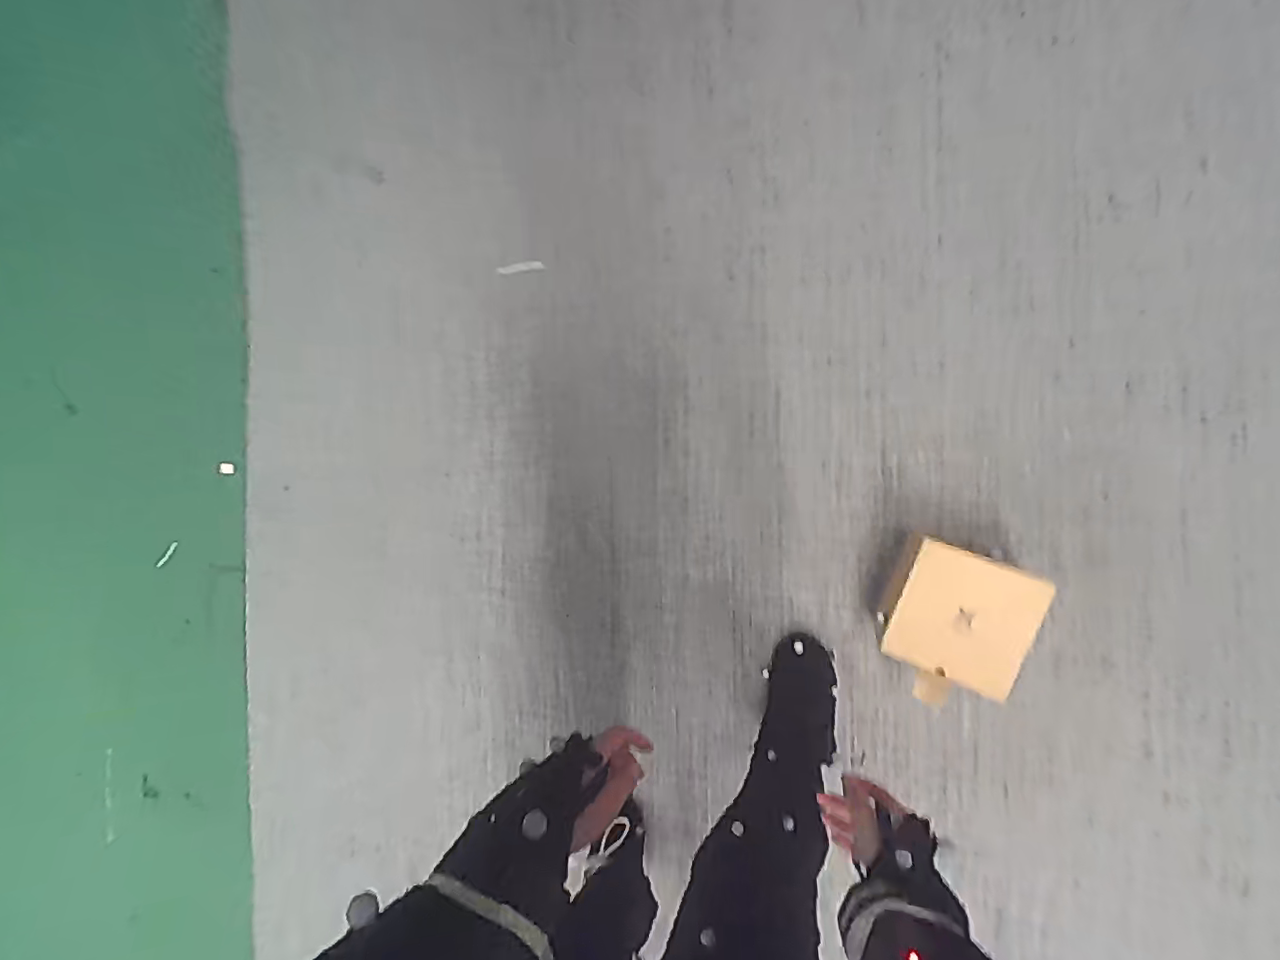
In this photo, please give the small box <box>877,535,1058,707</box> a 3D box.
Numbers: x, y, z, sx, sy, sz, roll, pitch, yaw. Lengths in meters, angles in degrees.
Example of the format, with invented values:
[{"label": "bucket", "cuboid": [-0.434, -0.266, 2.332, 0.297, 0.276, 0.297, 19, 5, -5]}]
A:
[{"label": "small box", "cuboid": [0.466, 0.193, 0.805, 0.168, 0.176, 0.179, 22, 98, 19]}]
